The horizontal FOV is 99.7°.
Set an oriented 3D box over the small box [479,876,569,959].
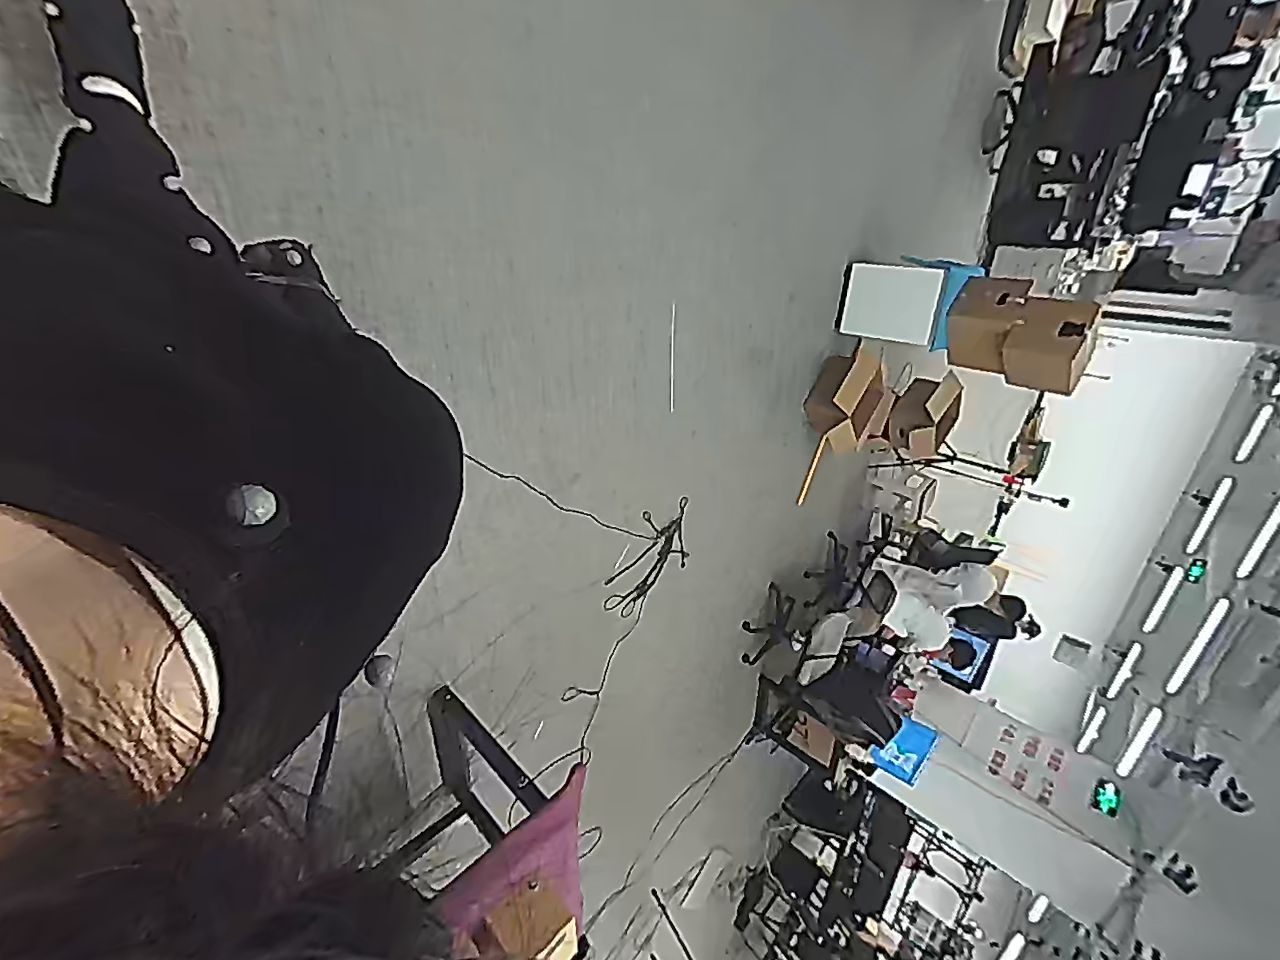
[{"bbox_3d":[-0.305,1.193,1.416,0.168,0.176,0.179,-23,126,-40],"label":"small box"}]
